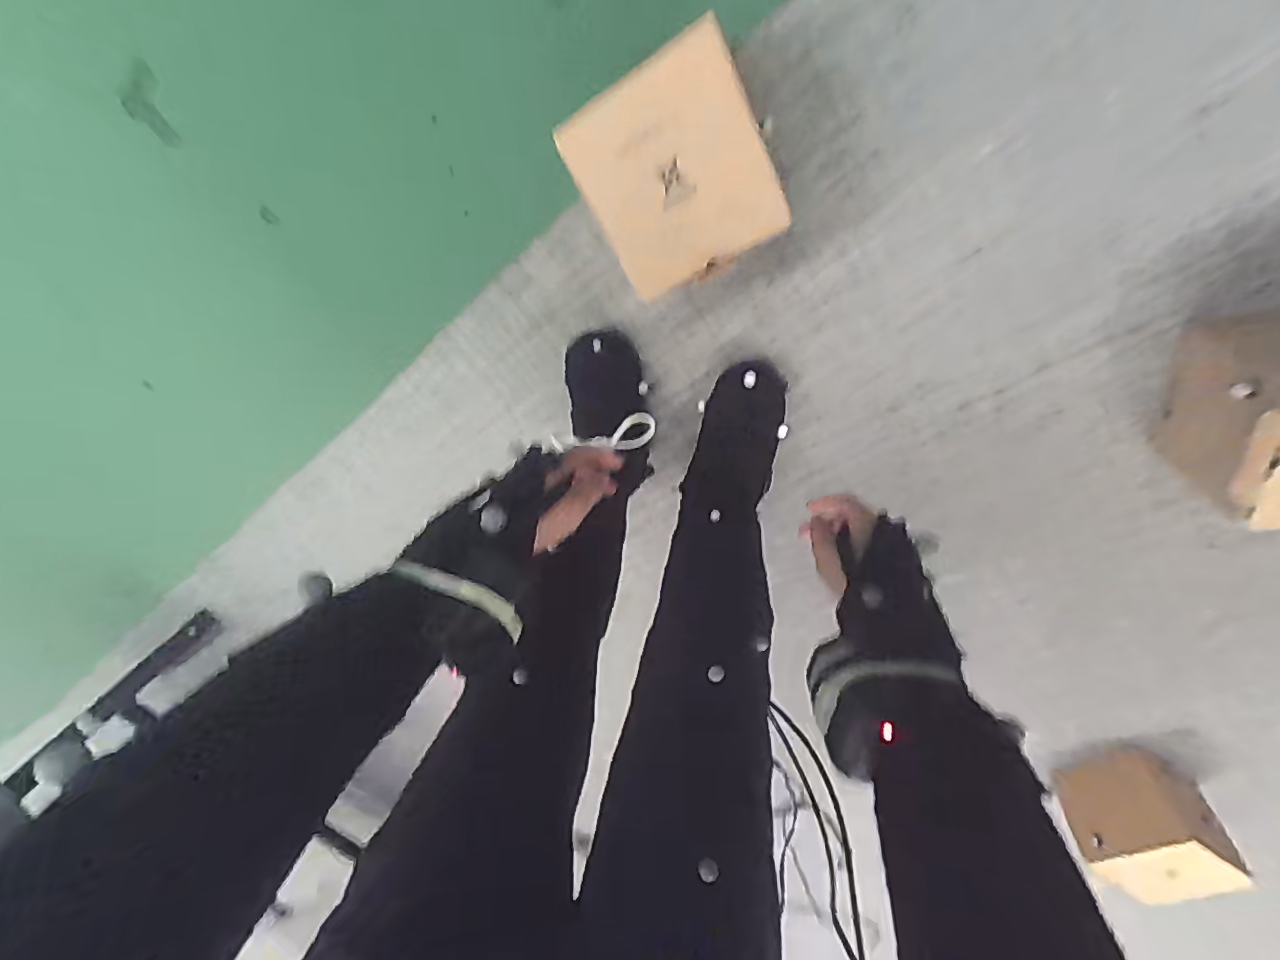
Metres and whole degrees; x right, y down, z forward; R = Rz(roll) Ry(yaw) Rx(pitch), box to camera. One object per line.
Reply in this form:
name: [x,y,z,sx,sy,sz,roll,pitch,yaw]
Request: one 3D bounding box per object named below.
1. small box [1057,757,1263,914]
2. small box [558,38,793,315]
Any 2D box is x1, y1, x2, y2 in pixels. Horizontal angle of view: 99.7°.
small box: [0.911,0.632,0.970,0.168,0.176,0.179,33,126,-8]
small box: [0.049,-0.307,0.563,0.168,0.176,0.179,-22,115,24]
